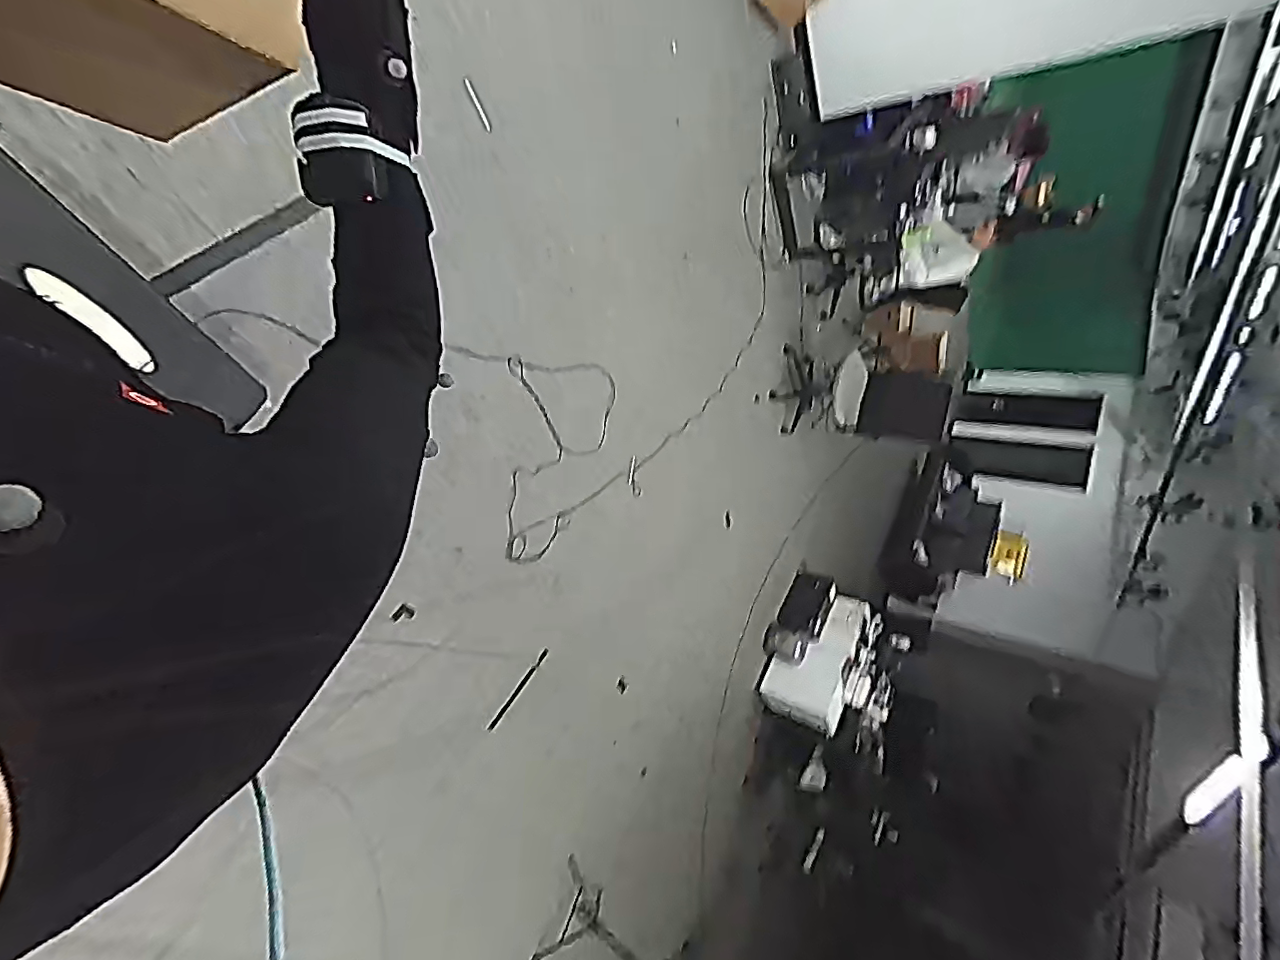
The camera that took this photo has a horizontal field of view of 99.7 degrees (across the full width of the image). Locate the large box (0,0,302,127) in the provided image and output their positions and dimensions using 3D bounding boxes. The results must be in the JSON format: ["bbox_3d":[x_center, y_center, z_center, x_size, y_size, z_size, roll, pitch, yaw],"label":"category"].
[{"bbox_3d":[-0.457,-0.464,0.284,0.408,0.320,0.320,-3,105,-55],"label":"large box"}]
